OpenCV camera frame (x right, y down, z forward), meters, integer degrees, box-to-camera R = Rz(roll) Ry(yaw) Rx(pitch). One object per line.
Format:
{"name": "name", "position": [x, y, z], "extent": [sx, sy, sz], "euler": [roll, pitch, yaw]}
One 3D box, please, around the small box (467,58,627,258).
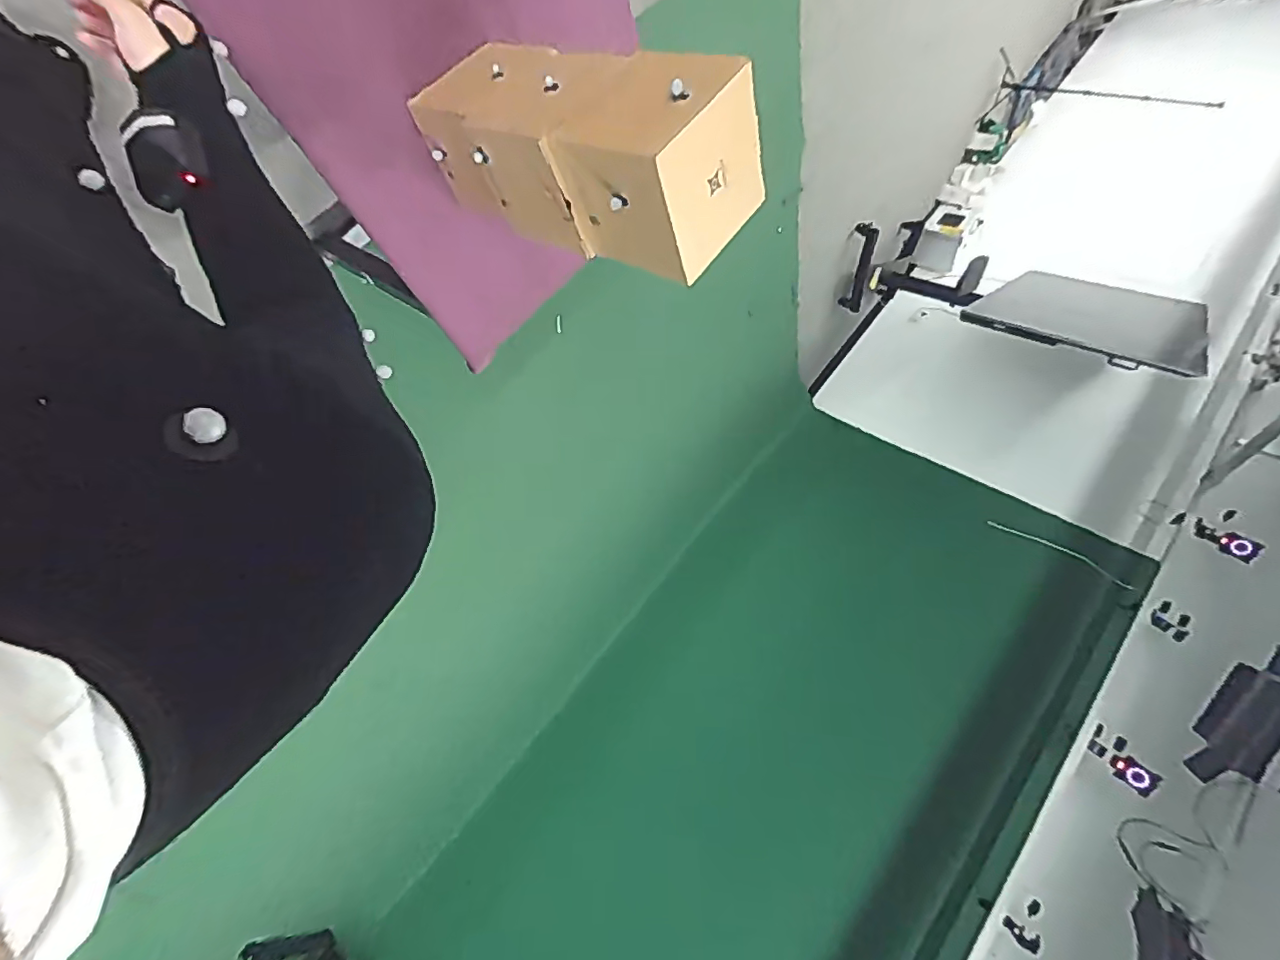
{"name": "small box", "position": [-0.108, -0.441, 0.740], "extent": [0.179, 0.176, 0.168], "euler": [-51, 148, -15]}

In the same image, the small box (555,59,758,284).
{"name": "small box", "position": [0.019, -0.376, 0.661], "extent": [0.179, 0.176, 0.168], "euler": [-52, 148, -14]}

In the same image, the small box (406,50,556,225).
{"name": "small box", "position": [-0.216, -0.527, 0.829], "extent": [0.179, 0.176, 0.168], "euler": [-49, 147, -16]}
